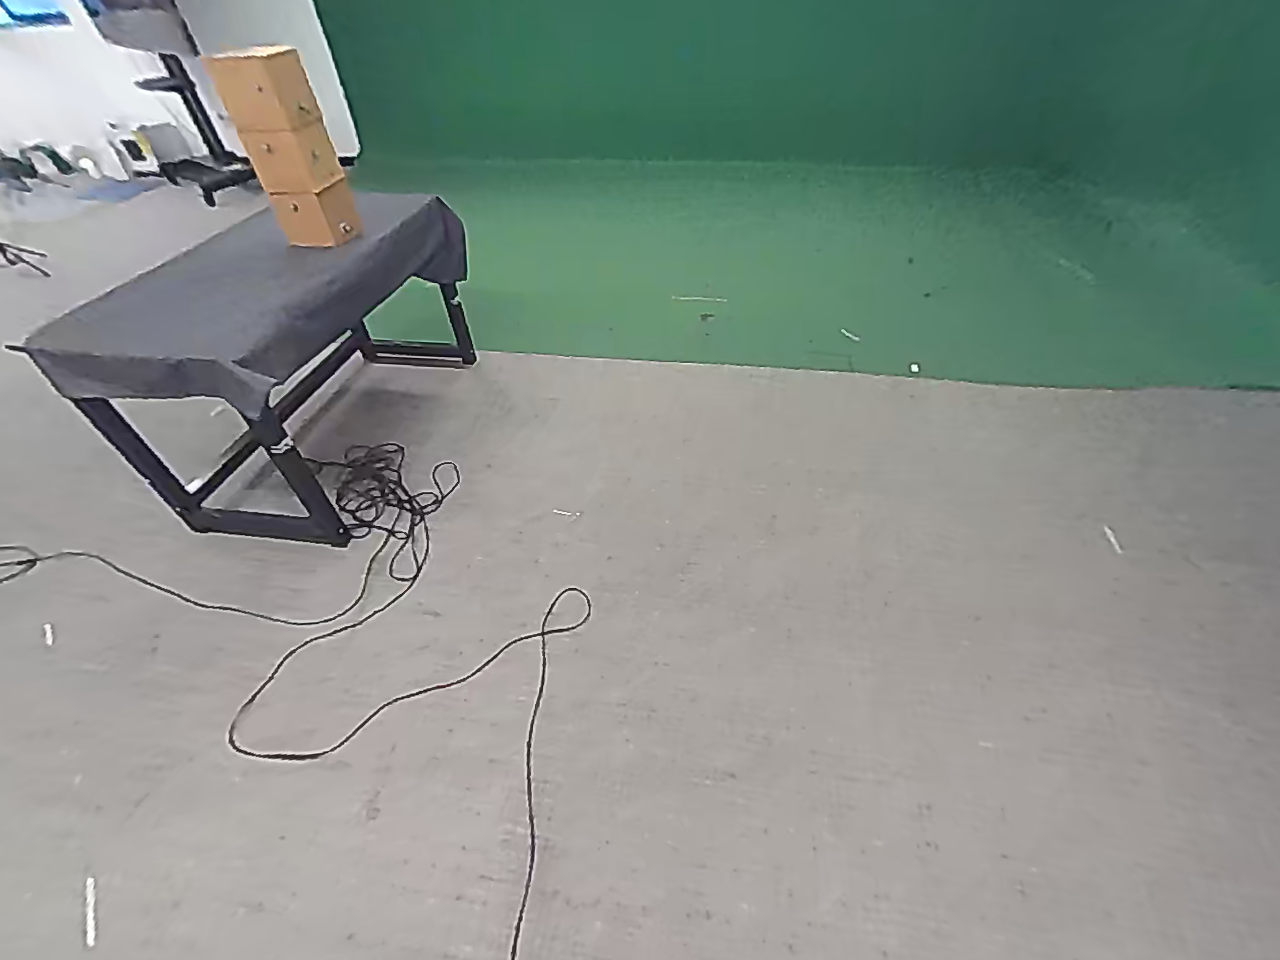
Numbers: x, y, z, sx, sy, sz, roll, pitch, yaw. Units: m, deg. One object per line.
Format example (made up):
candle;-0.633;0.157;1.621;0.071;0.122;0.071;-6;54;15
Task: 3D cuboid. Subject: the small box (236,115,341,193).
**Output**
small box;-1.050;-0.983;1.636;0.179;0.176;0.168;4;46;8

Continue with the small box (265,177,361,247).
small box;-1.052;-0.871;1.754;0.179;0.176;0.168;6;46;8
